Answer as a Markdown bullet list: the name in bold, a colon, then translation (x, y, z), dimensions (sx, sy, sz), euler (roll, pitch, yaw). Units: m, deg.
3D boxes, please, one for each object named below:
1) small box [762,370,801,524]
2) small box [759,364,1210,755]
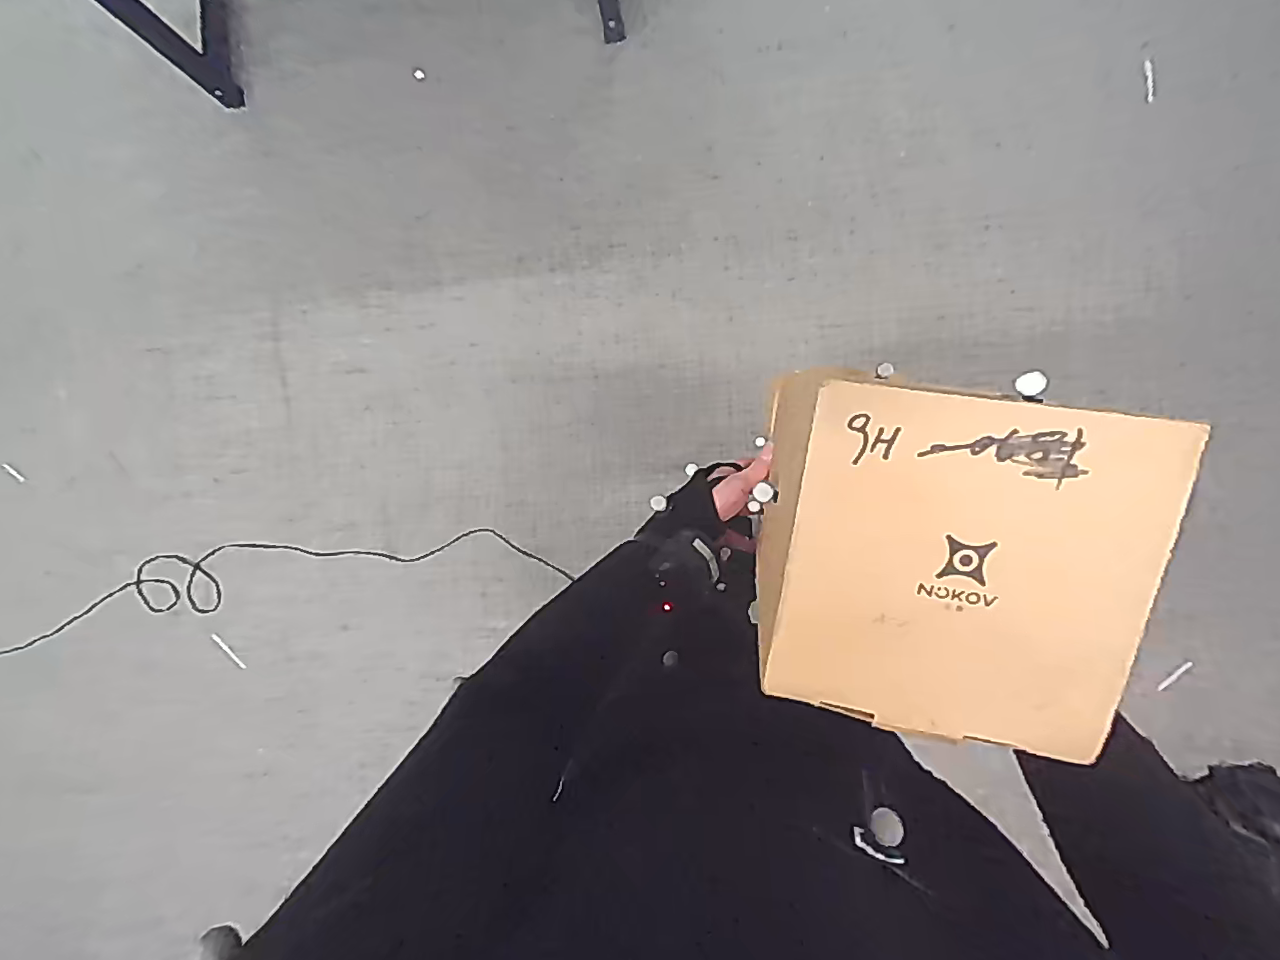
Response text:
- **small box**: translation (0.239, -0.039, 0.655), dimensions (0.168, 0.176, 0.179), euler (5, 102, 12)
- **small box**: translation (0.172, 0.026, 0.341), dimensions (0.168, 0.176, 0.179), euler (8, 105, 10)
